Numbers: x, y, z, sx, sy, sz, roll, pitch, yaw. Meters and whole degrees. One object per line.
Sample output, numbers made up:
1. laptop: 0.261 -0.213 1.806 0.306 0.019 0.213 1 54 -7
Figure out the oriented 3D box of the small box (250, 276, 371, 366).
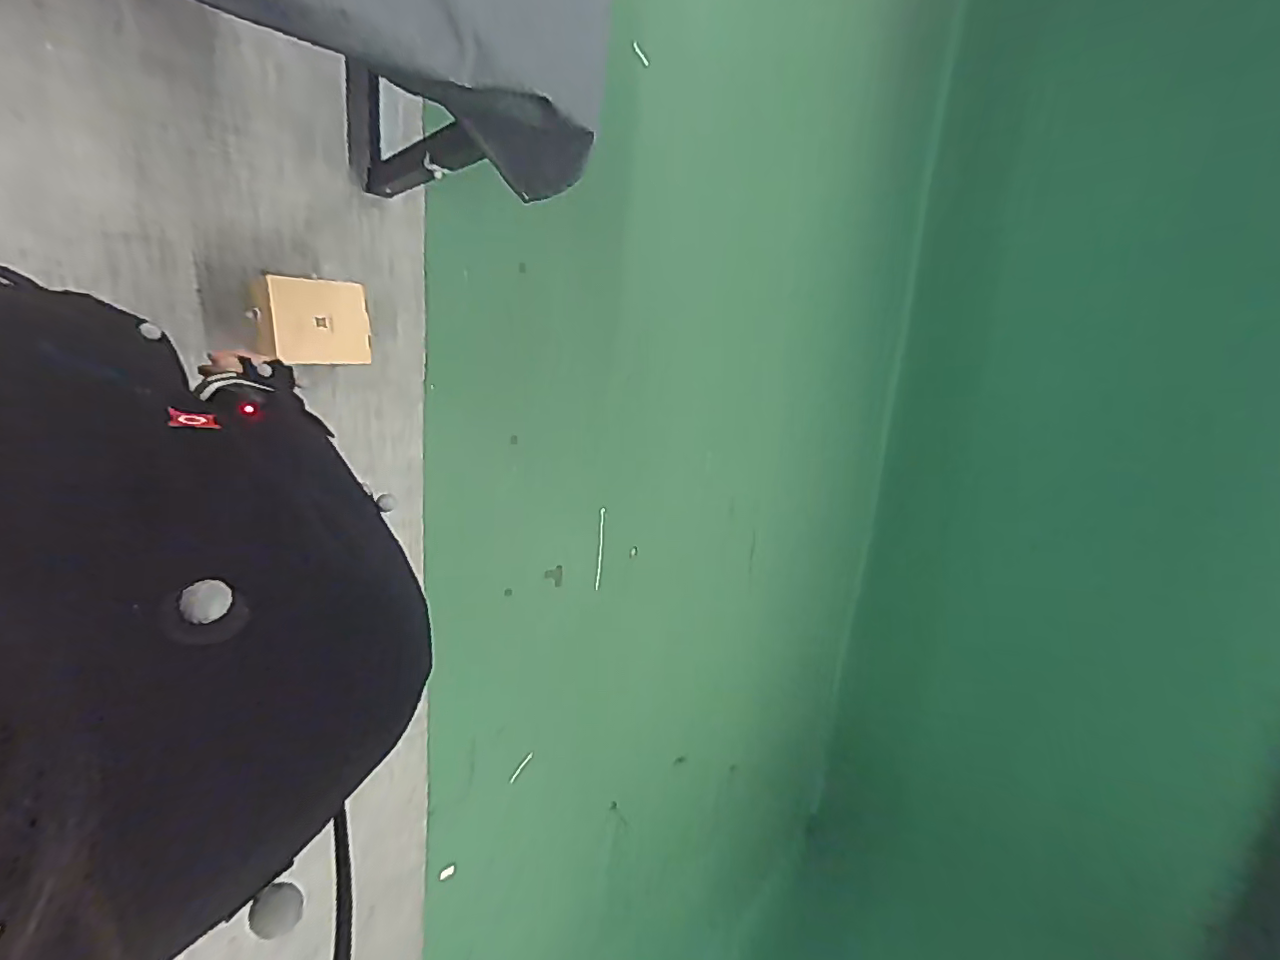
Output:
1. small box: -0.690 -0.328 1.136 0.179 0.176 0.168 -11 109 -42
